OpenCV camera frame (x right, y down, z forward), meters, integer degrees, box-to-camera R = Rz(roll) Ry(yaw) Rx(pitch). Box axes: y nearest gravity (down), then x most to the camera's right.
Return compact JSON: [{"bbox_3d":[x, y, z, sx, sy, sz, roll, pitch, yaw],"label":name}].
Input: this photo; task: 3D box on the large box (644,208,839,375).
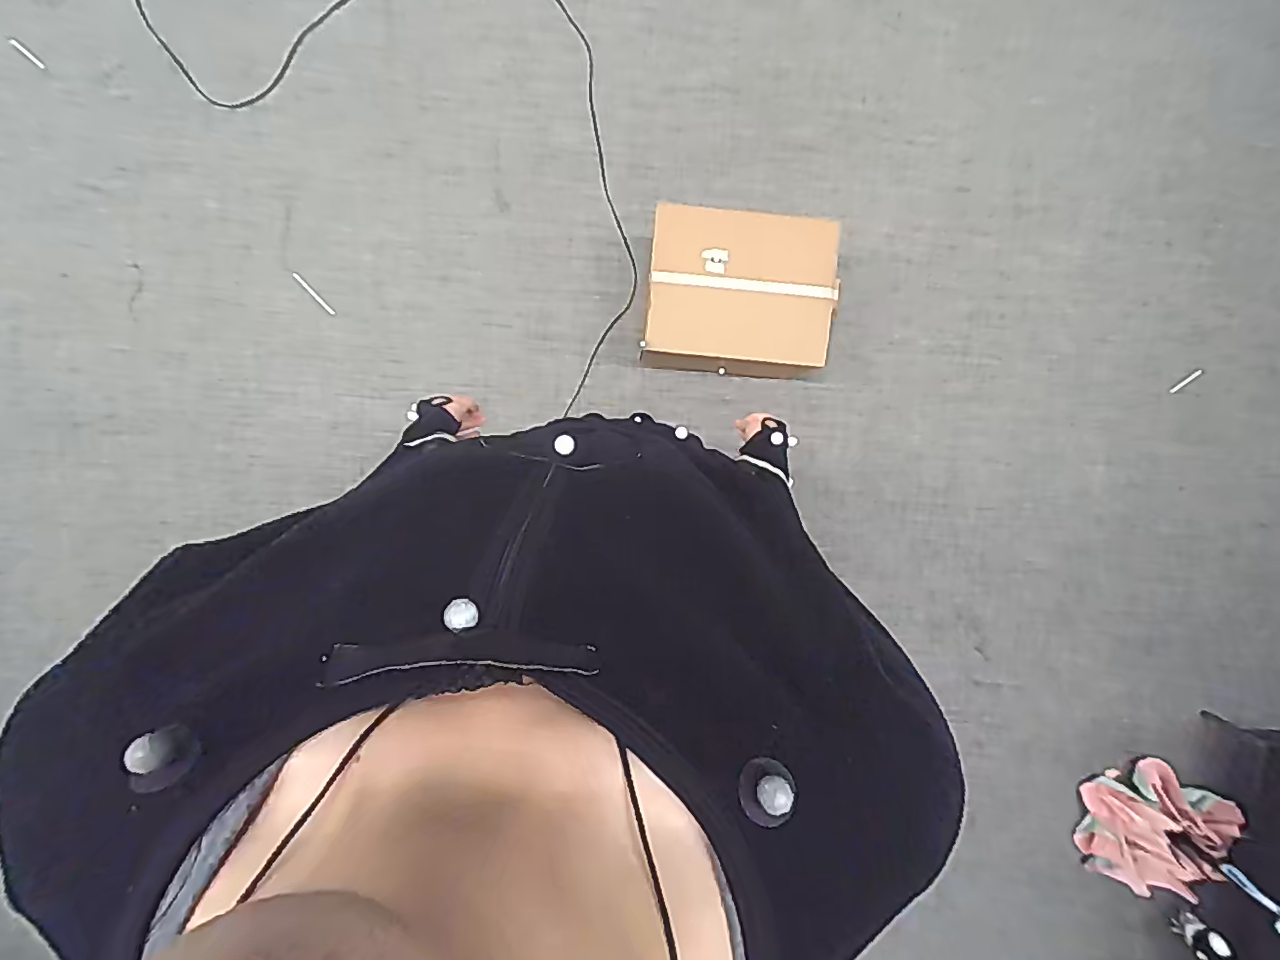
[{"bbox_3d":[0.222,-0.434,1.325,0.408,0.320,0.320,5,95,-1],"label":"large box"}]
